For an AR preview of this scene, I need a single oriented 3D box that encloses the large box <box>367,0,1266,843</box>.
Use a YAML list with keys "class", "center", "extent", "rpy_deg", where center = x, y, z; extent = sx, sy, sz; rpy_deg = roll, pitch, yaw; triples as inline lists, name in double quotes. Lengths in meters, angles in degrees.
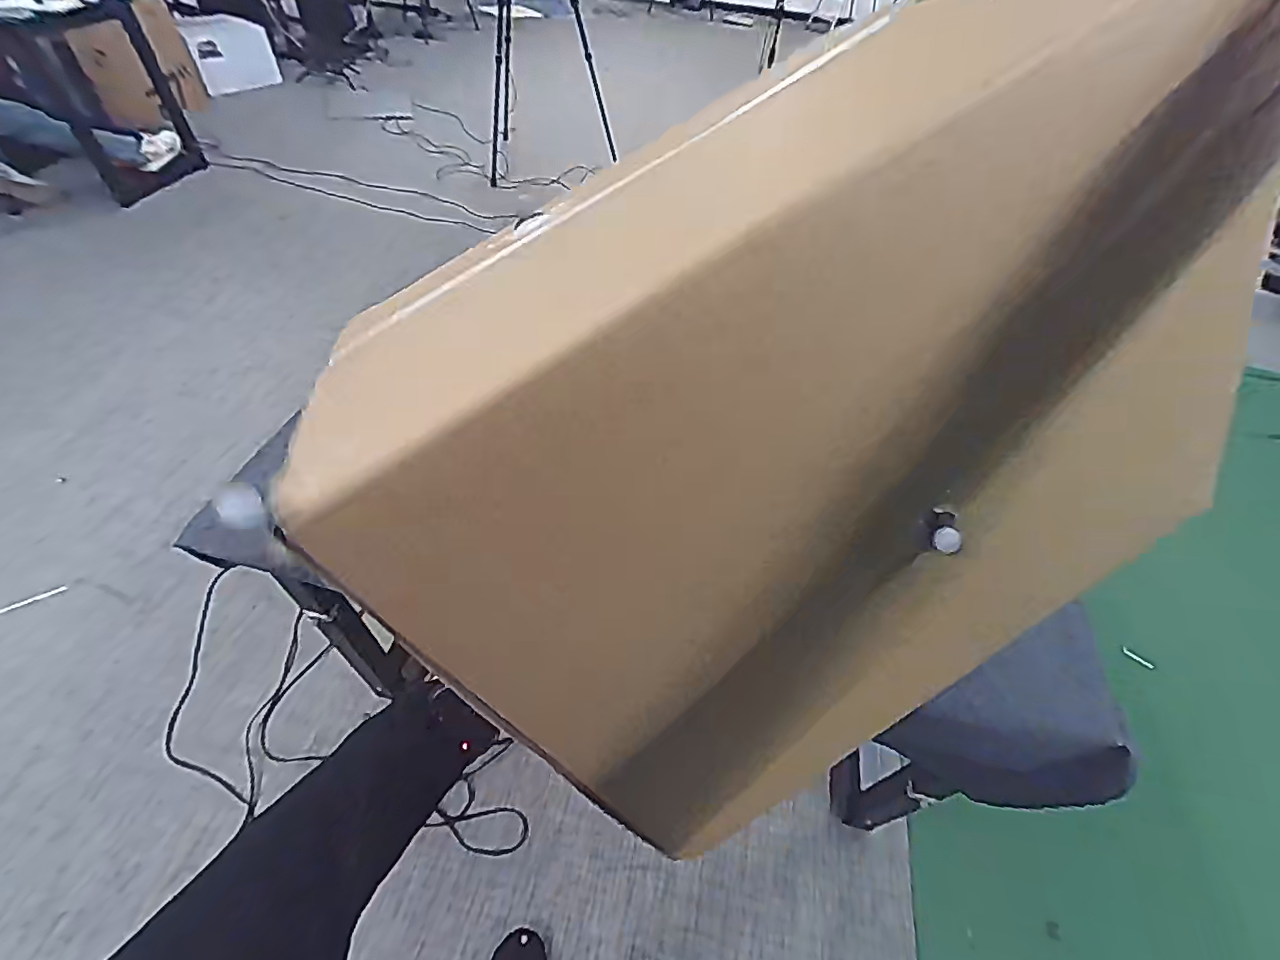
- class: "large box"
  center: [0.086, -0.046, 0.390]
  extent: [0.408, 0.320, 0.320]
  rpy_deg: [-36, 35, -4]
